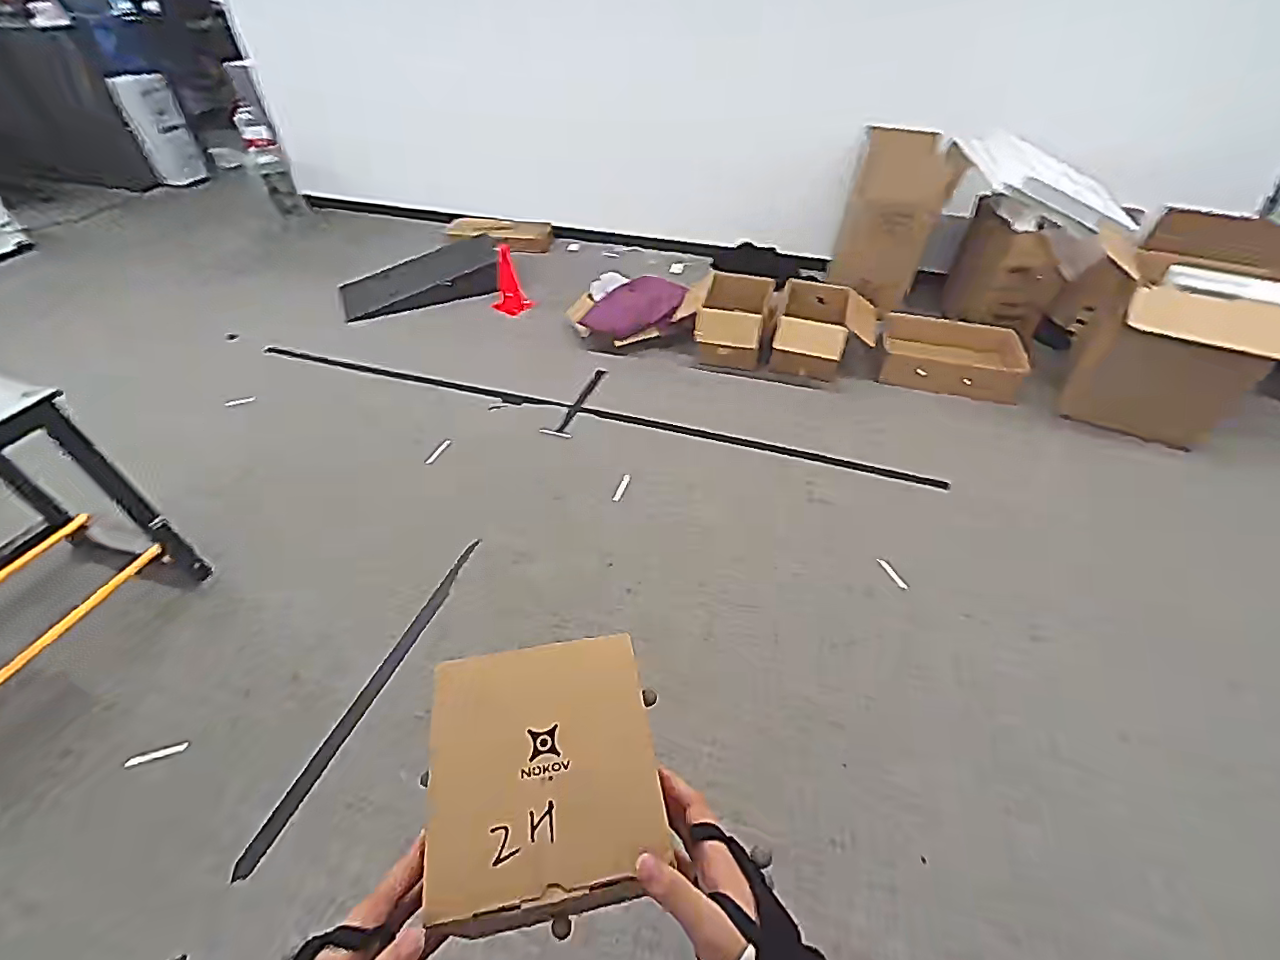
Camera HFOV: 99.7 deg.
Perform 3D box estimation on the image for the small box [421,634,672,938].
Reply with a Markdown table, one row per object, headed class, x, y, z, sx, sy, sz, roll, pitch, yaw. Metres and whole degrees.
| class | x | y | z | sx | sy | sz | roll | pitch | yaw |
| --- | --- | --- | --- | --- | --- | --- | --- | --- | --- |
| small box | -0.078 | 0.260 | 0.464 | 0.168 | 0.176 | 0.179 | -6 | 49 | -10 |
